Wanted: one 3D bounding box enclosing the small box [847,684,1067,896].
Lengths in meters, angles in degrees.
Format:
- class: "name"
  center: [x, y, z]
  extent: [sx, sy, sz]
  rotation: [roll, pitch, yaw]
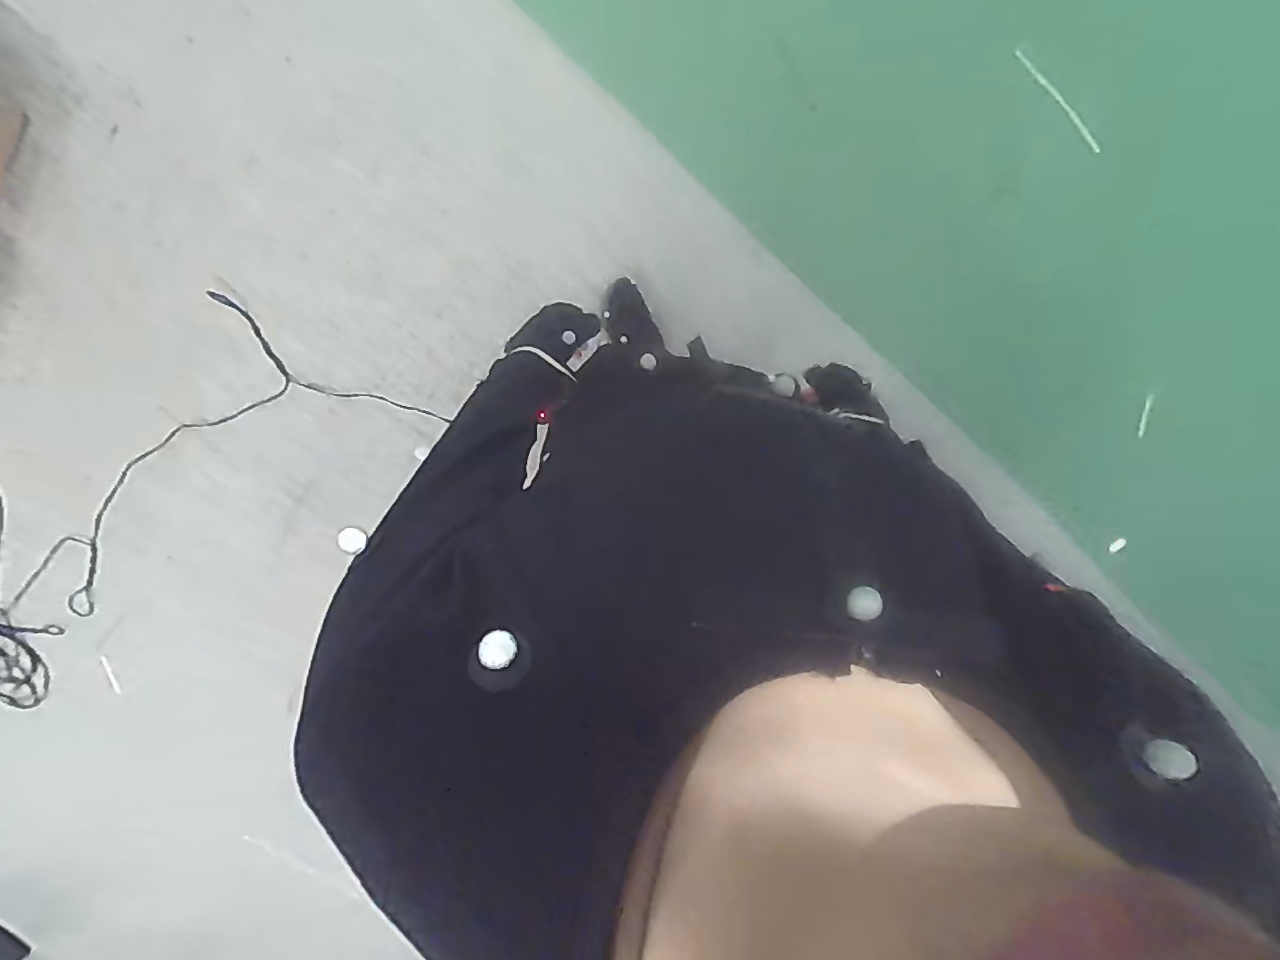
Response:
- class: "small box"
  center: [0.438, 0.432, 0.777]
  extent: [0.179, 0.176, 0.168]
  rotation: [38, 102, -10]
